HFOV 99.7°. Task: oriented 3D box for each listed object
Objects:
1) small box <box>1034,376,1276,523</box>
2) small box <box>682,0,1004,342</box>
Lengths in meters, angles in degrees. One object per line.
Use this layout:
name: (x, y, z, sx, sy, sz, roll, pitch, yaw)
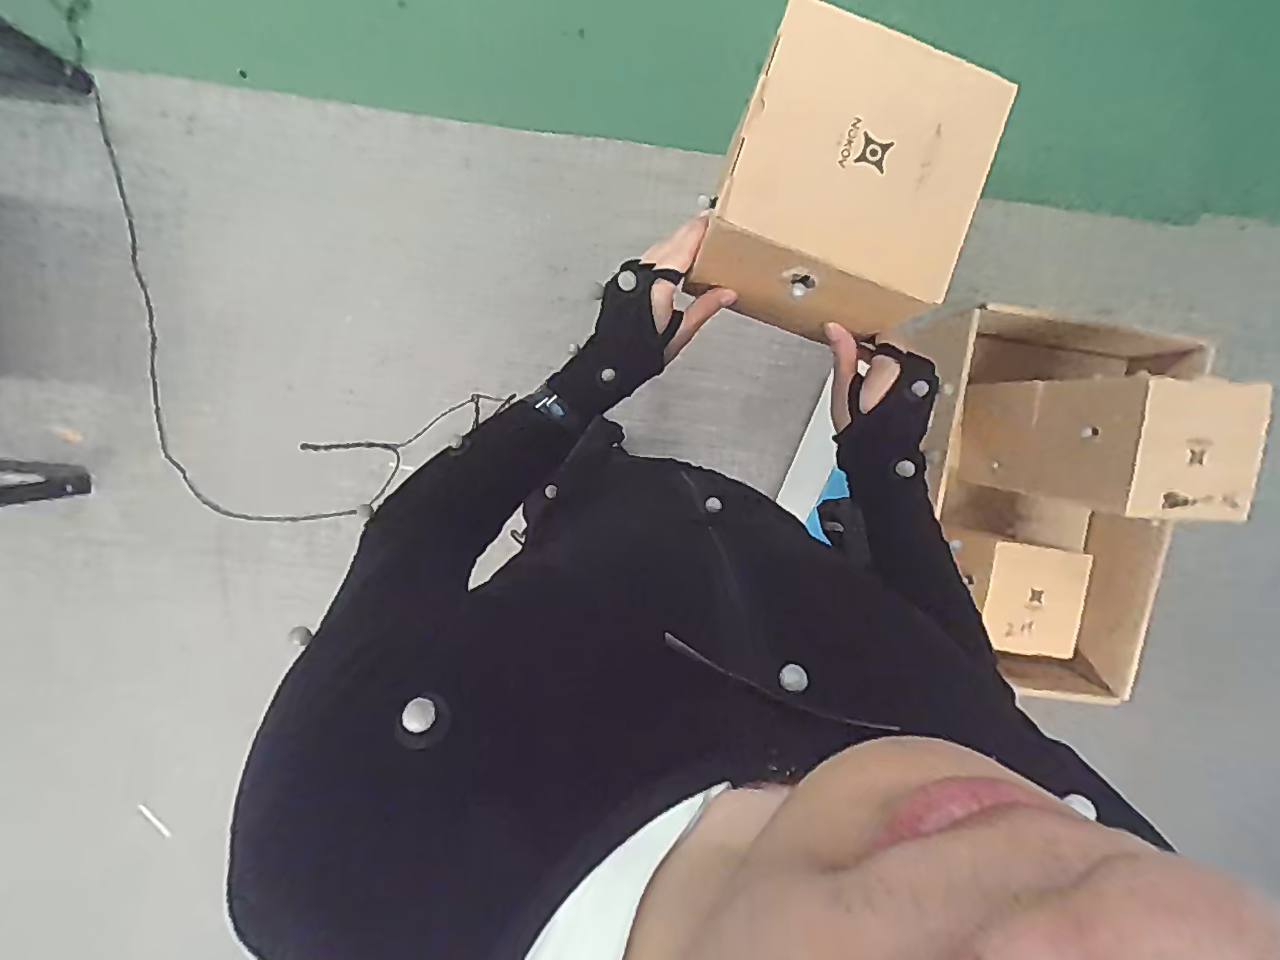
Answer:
small box: (0.687, -0.044, 0.743, 0.168, 0.176, 0.179, 3, 97, -2)
small box: (0.146, -0.232, 0.457, 0.179, 0.176, 0.168, 19, 91, -4)
